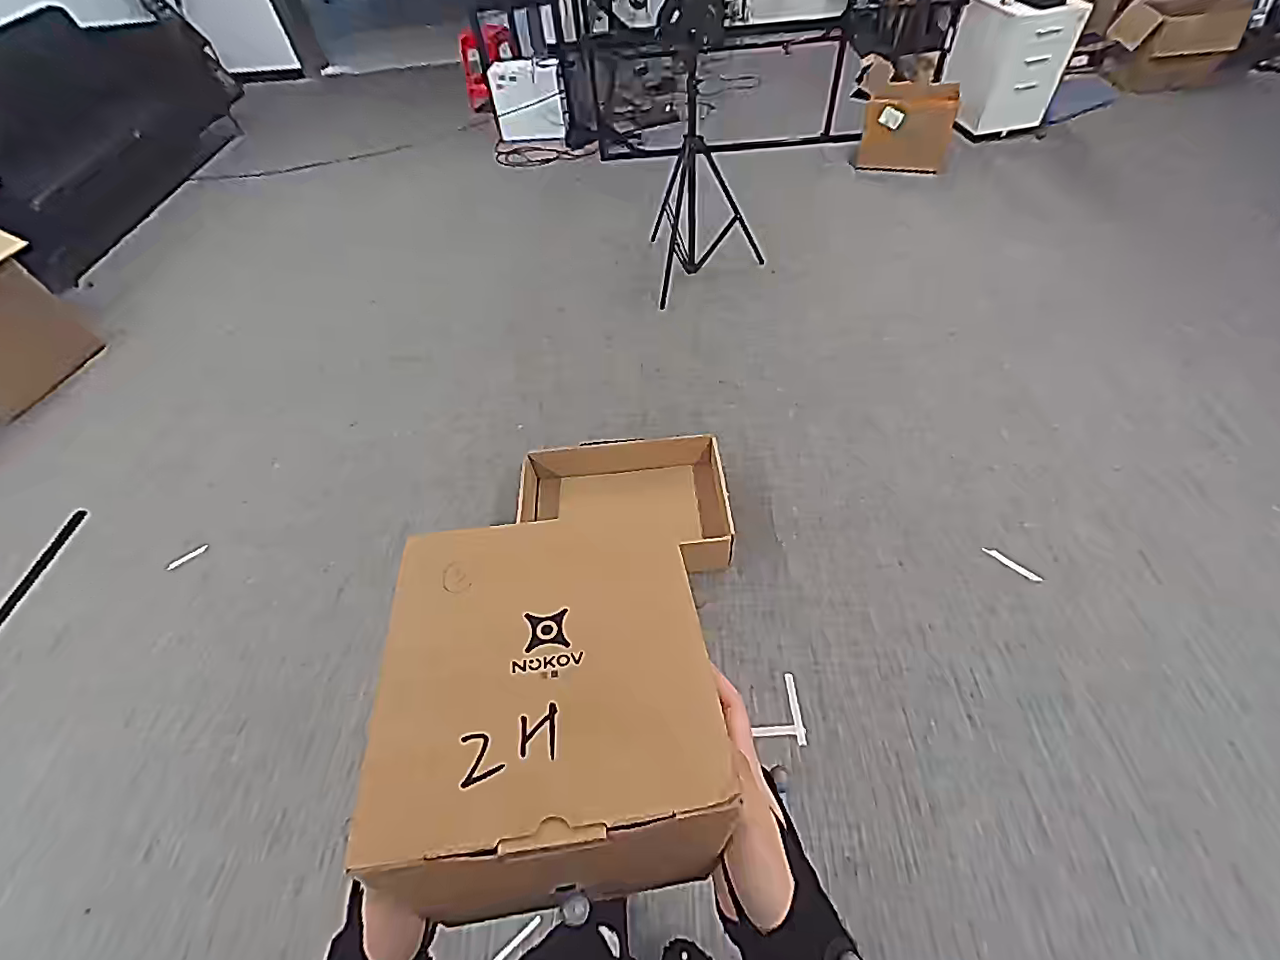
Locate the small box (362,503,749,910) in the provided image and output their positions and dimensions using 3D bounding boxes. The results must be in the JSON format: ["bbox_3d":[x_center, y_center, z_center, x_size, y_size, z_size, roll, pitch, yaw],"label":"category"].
[{"bbox_3d":[-0.045,0.139,0.341,0.168,0.176,0.179,-6,46,-6],"label":"small box"}]
